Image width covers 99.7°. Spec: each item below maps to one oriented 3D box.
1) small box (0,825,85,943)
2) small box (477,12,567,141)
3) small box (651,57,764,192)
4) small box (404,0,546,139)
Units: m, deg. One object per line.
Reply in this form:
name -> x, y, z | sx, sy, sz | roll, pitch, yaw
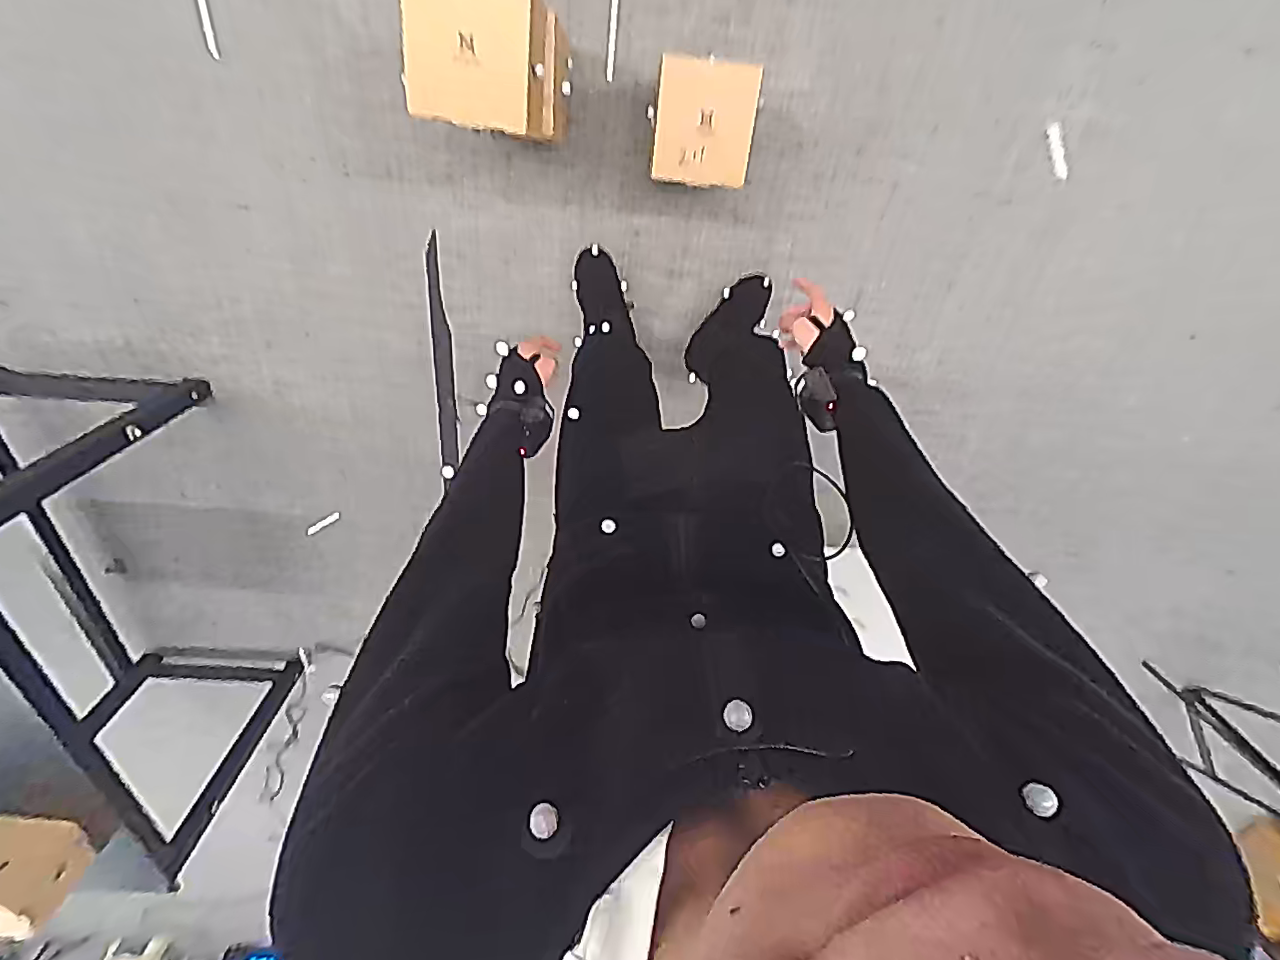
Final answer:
small box -> -1.418, 0.904, 1.215 | 0.179, 0.176, 0.168 | 8, 121, -6
small box -> -0.223, -0.687, 0.923 | 0.179, 0.176, 0.168 | 4, 121, -5
small box -> 0.110, -0.629, 0.970 | 0.168, 0.176, 0.179 | 5, 121, -3
small box -> -0.229, -0.609, 0.781 | 0.168, 0.176, 0.179 | 6, 122, -6
